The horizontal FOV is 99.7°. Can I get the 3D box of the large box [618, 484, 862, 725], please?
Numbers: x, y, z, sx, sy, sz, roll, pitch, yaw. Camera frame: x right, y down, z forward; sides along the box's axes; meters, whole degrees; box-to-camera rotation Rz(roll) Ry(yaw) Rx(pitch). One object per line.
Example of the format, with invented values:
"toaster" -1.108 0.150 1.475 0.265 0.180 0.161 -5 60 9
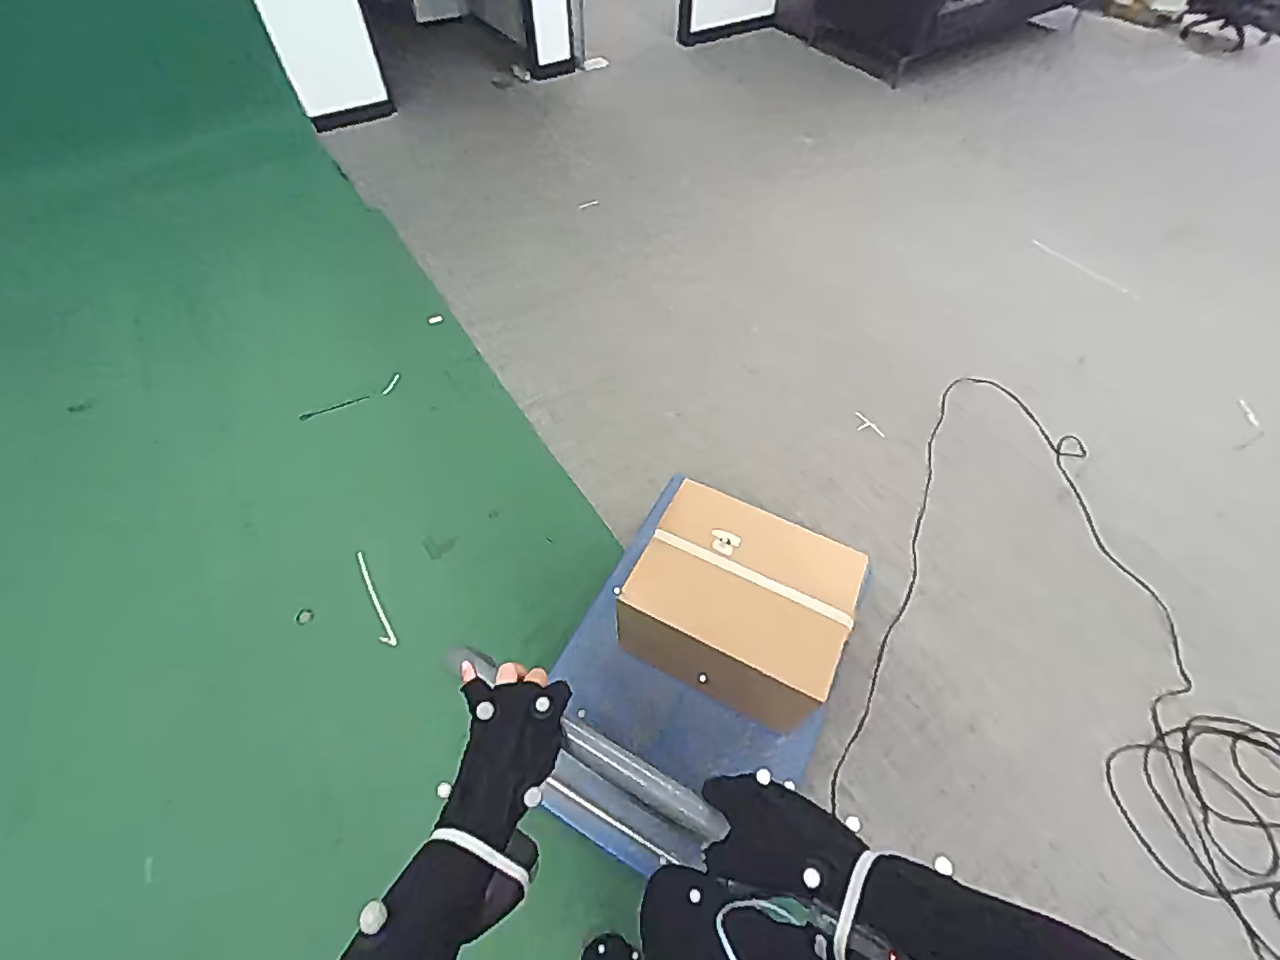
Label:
"large box" 0.202 0.274 1.173 0.408 0.320 0.320 23 58 15
